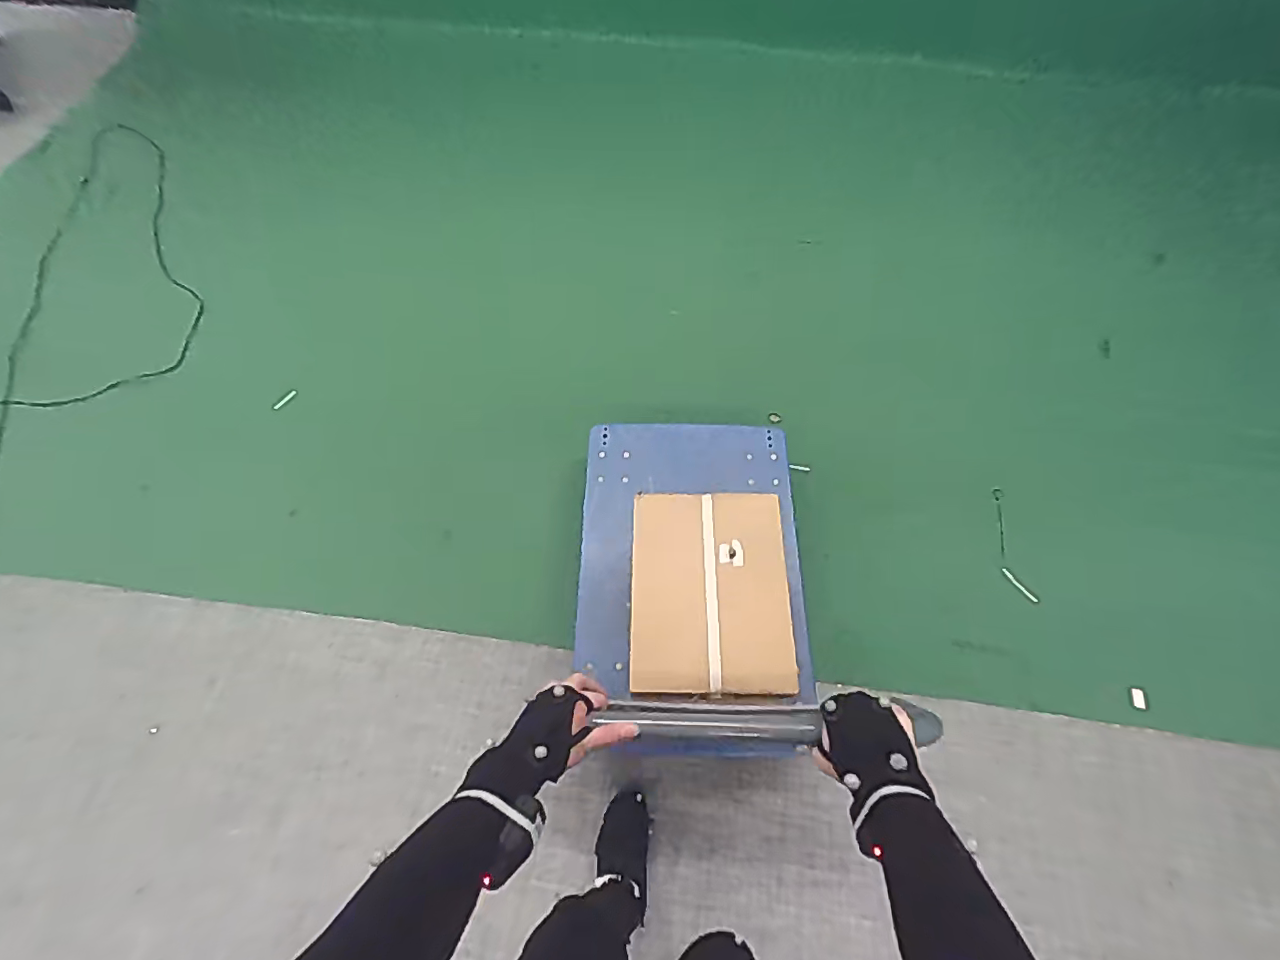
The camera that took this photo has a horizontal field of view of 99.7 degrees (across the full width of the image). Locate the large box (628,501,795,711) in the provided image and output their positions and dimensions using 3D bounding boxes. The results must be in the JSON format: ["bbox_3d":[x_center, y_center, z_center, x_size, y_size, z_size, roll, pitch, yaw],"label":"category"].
[{"bbox_3d":[0.139,0.293,1.222,0.320,0.320,0.408,0,62,1],"label":"large box"}]
